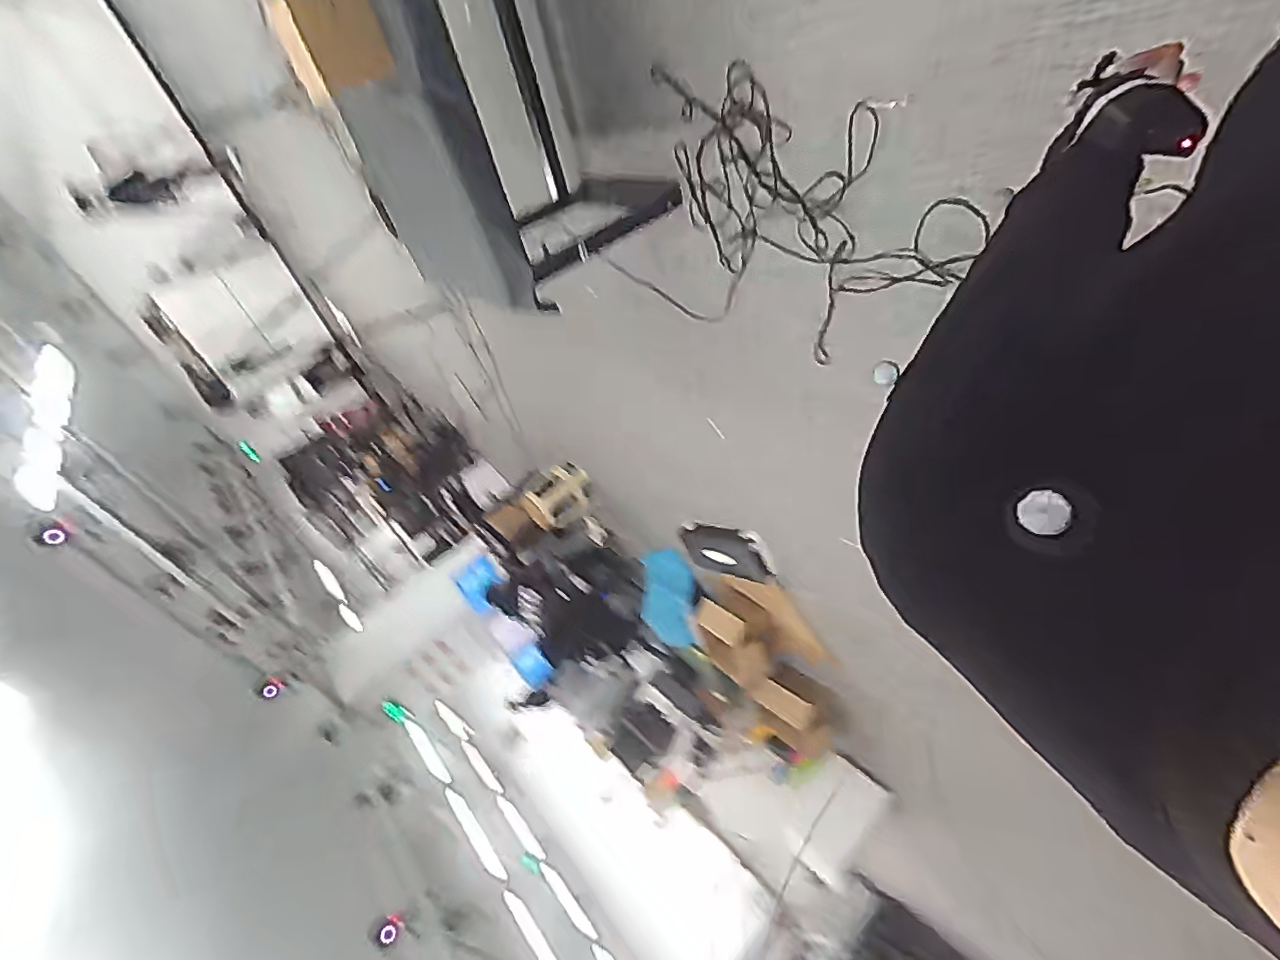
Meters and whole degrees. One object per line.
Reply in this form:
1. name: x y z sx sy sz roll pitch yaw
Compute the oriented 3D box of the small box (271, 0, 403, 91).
1. small box: -0.655 -0.979 1.177 0.168 0.176 0.179 33 151 41
